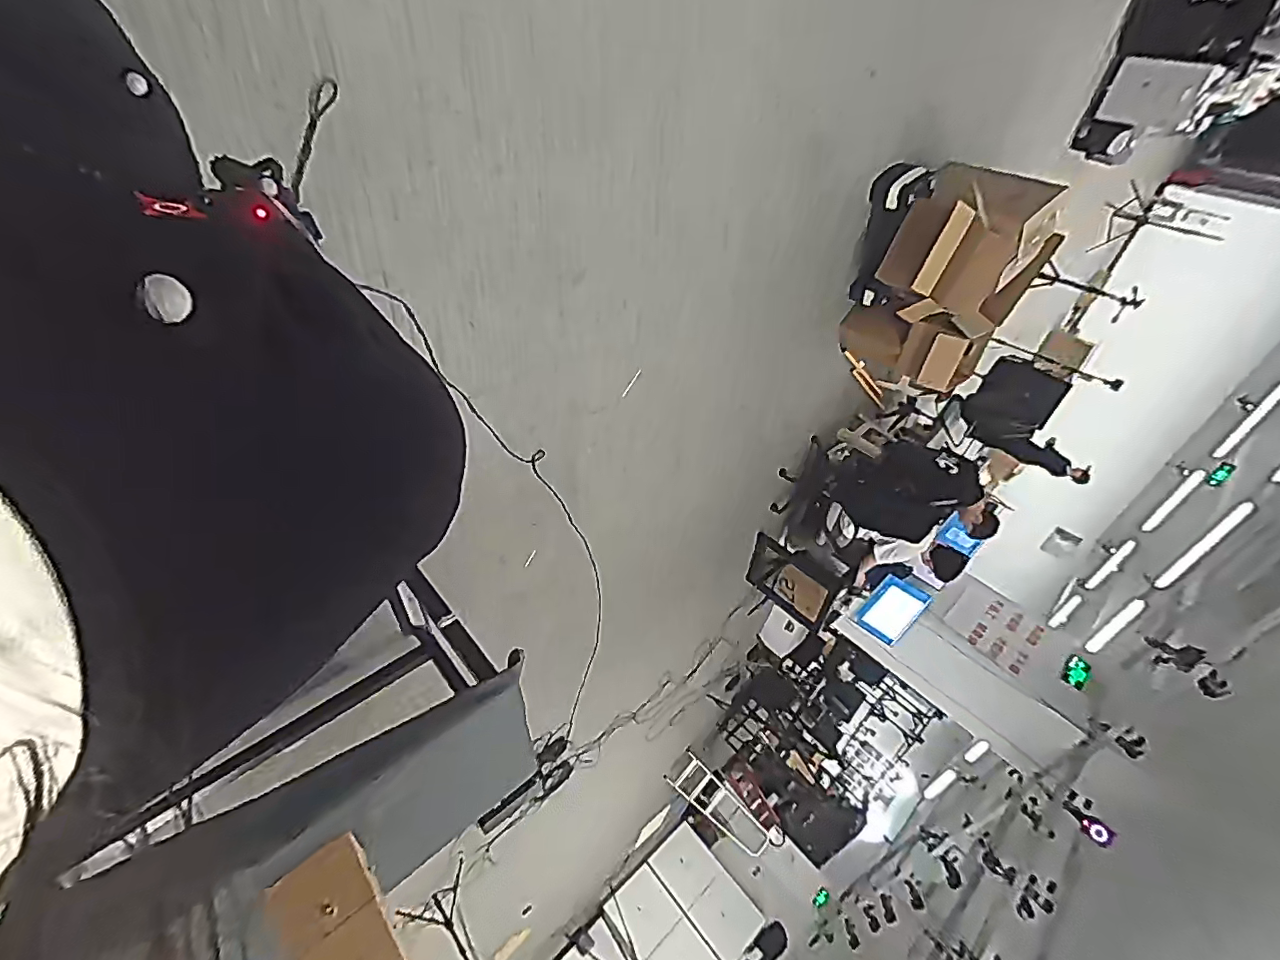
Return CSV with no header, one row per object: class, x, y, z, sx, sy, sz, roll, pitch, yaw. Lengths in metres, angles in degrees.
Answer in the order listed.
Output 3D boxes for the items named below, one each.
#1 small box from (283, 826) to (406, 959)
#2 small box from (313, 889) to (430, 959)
small box,-0.656,0.923,1.207,0.179,0.176,0.168,-27,139,-32
small box,-0.548,1.006,1.114,0.179,0.176,0.168,-28,140,-34
